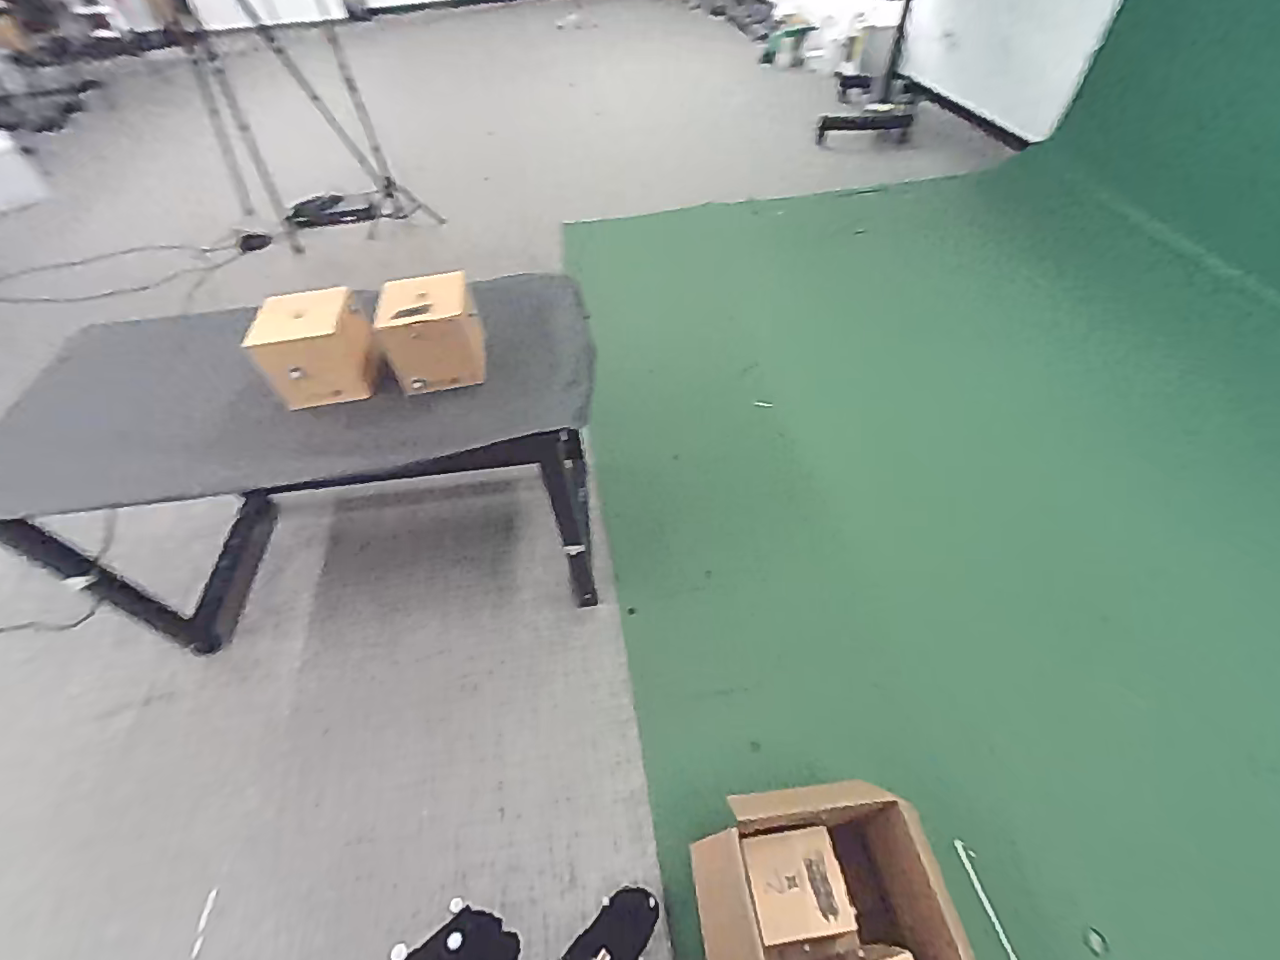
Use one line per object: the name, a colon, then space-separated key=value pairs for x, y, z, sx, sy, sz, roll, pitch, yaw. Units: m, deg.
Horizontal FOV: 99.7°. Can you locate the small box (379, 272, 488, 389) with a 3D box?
small box: x=-0.423 y=-0.307 z=1.136 sx=0.168 sy=0.176 sz=0.179 roll=-10 pitch=49 yaw=-4

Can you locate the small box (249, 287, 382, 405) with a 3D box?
small box: x=-0.660 y=-0.272 z=1.127 sx=0.168 sy=0.176 sz=0.179 roll=-10 pitch=49 yaw=-4
